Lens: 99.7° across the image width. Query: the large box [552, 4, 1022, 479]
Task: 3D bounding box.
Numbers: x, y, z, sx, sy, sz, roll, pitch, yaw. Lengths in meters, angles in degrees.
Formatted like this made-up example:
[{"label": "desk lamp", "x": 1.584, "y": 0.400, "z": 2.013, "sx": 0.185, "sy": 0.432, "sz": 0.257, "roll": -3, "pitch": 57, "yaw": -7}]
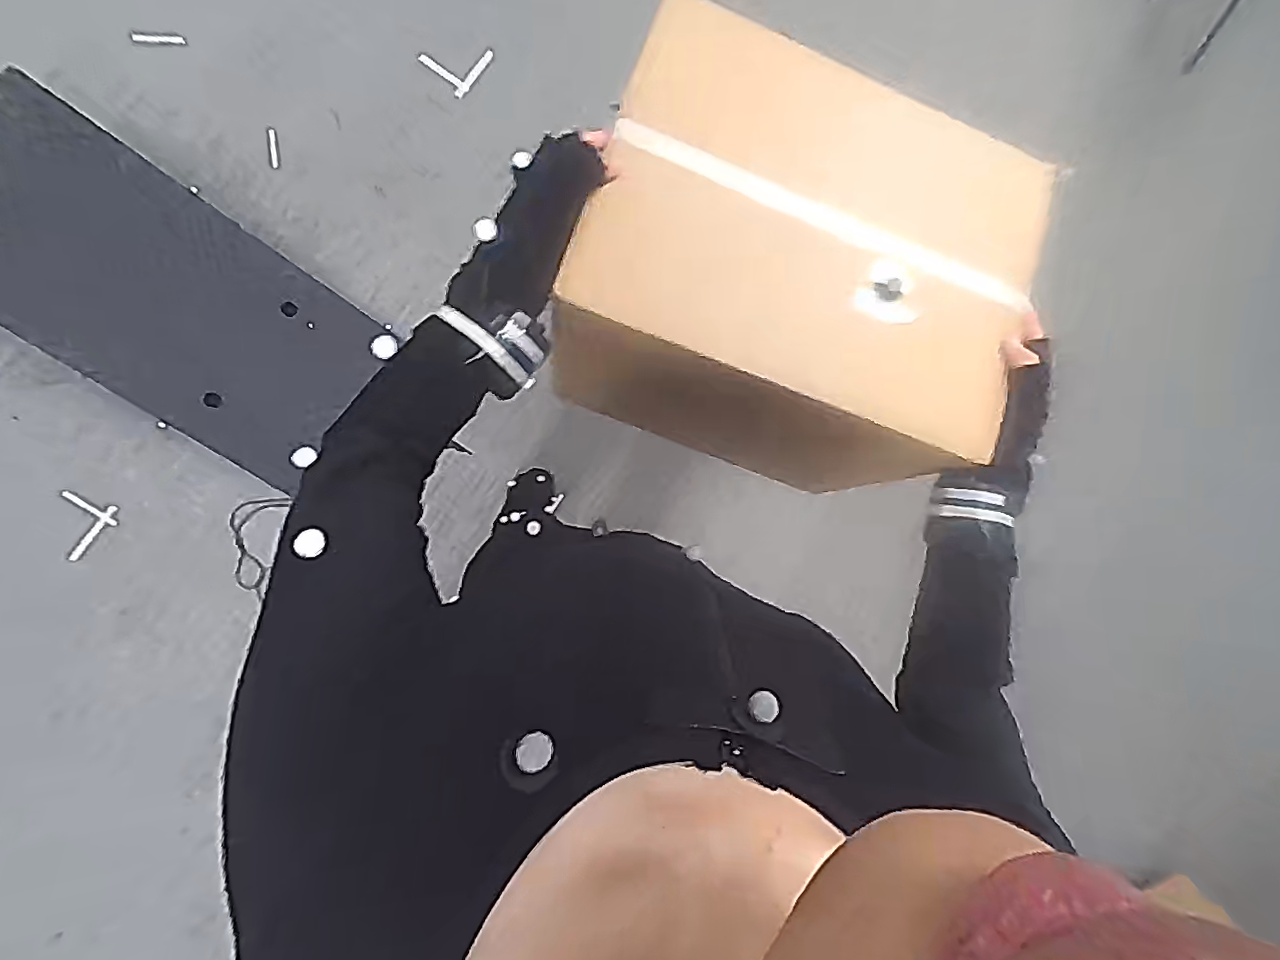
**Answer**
[{"label": "large box", "x": 0.131, "y": -0.219, "z": 0.639, "sx": 0.408, "sy": 0.320, "sz": 0.320, "roll": 19, "pitch": 81, "yaw": -7}]
